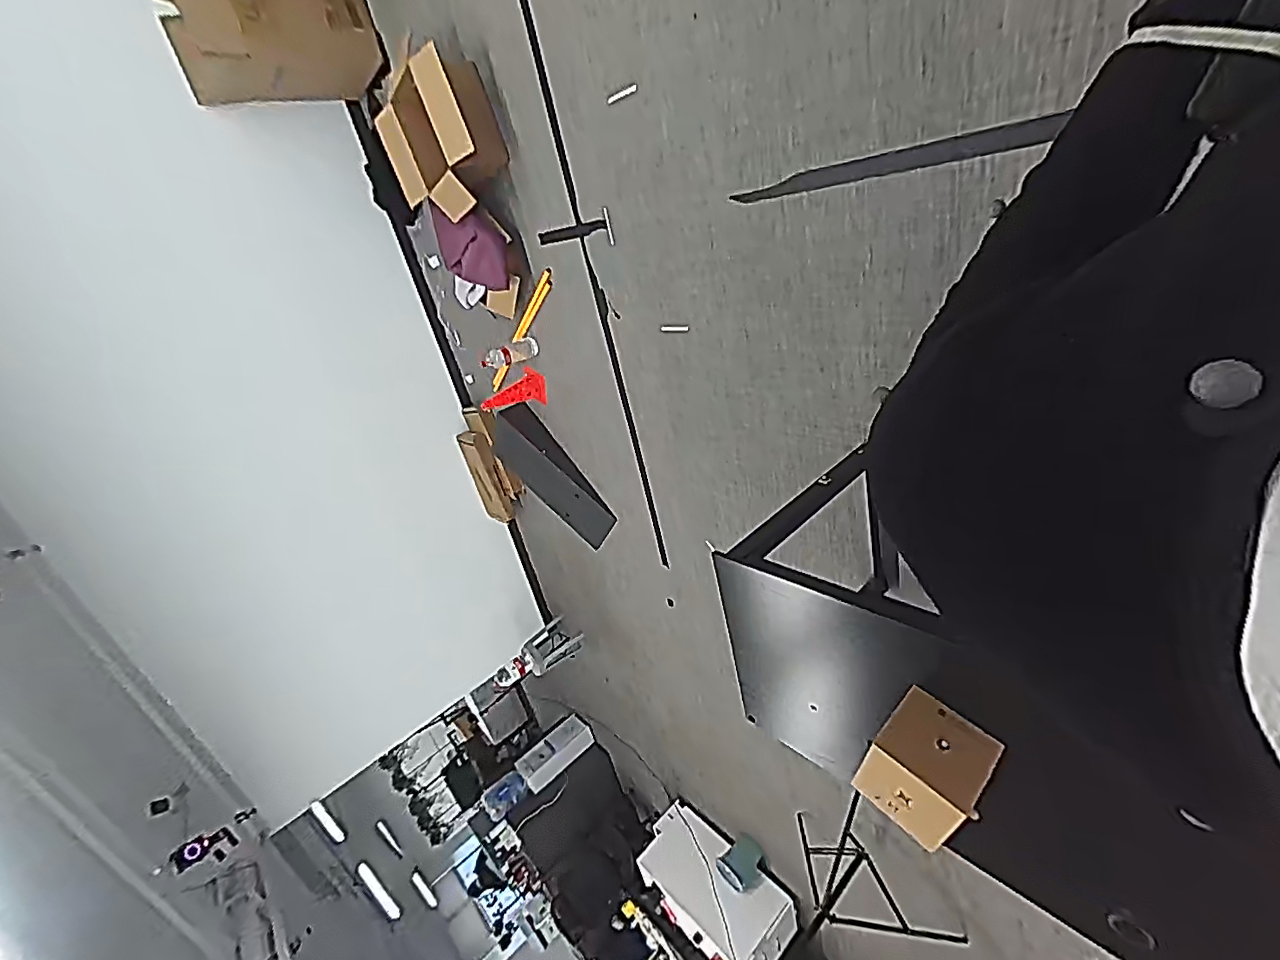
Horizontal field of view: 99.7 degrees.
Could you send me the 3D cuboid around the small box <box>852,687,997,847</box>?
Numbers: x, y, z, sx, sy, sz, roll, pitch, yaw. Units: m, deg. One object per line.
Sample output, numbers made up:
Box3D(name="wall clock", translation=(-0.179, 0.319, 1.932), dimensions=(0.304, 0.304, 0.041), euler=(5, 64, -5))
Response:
Box3D(name="small box", translation=(0.532, 0.529, 1.013), dimensions=(0.168, 0.176, 0.179), euler=(34, 141, 35))
